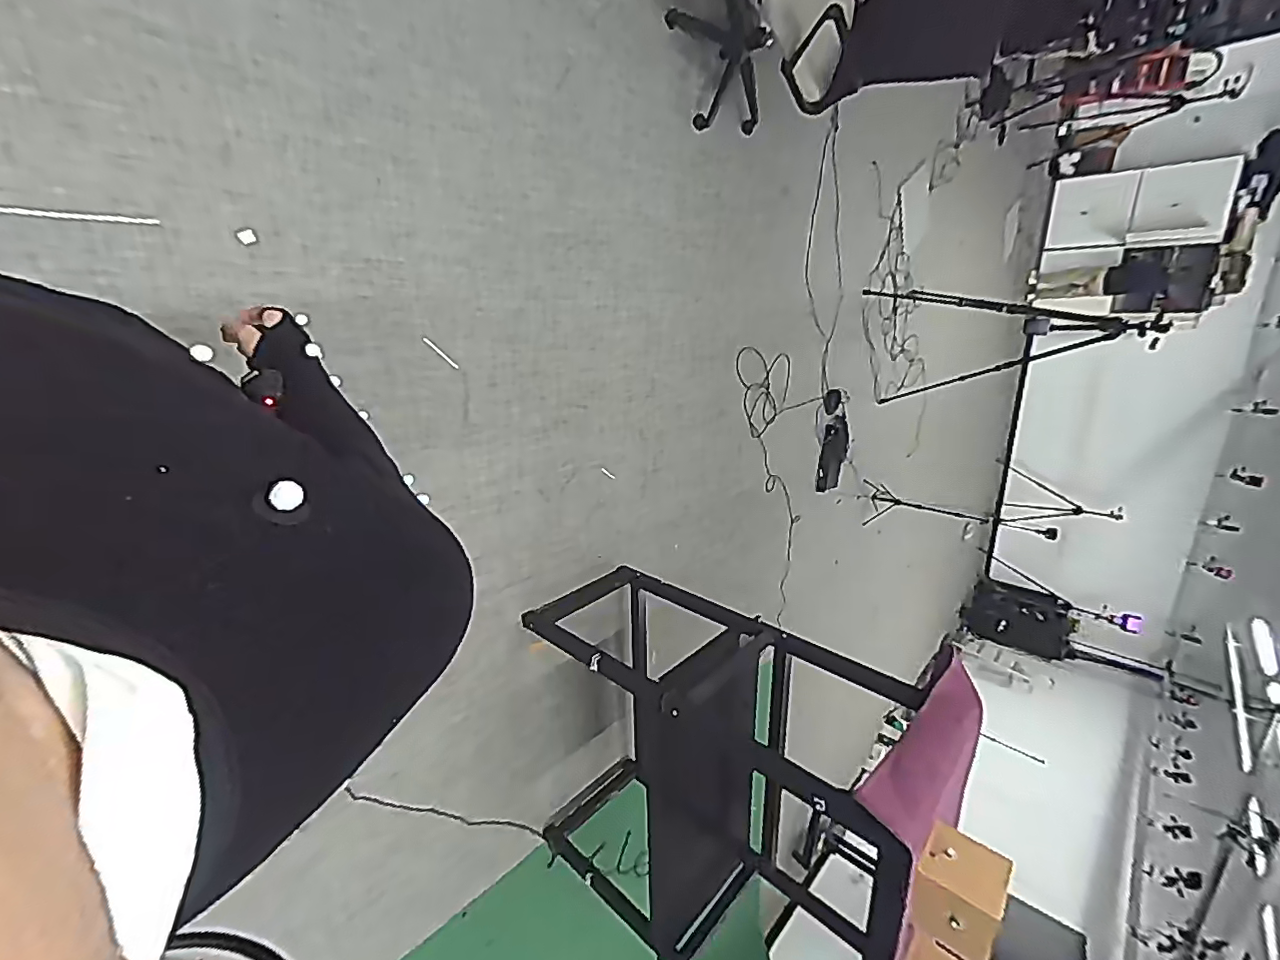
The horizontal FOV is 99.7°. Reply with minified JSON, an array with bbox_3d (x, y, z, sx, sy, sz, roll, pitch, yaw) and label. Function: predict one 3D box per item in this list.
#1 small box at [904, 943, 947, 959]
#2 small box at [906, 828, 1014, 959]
[{"bbox_3d":[0.741,1.338,1.368,0.168,0.176,0.179,-16,113,-44],"label":"small box"},{"bbox_3d":[0.734,0.963,1.250,0.168,0.176,0.179,-20,115,-43],"label":"small box"}]
